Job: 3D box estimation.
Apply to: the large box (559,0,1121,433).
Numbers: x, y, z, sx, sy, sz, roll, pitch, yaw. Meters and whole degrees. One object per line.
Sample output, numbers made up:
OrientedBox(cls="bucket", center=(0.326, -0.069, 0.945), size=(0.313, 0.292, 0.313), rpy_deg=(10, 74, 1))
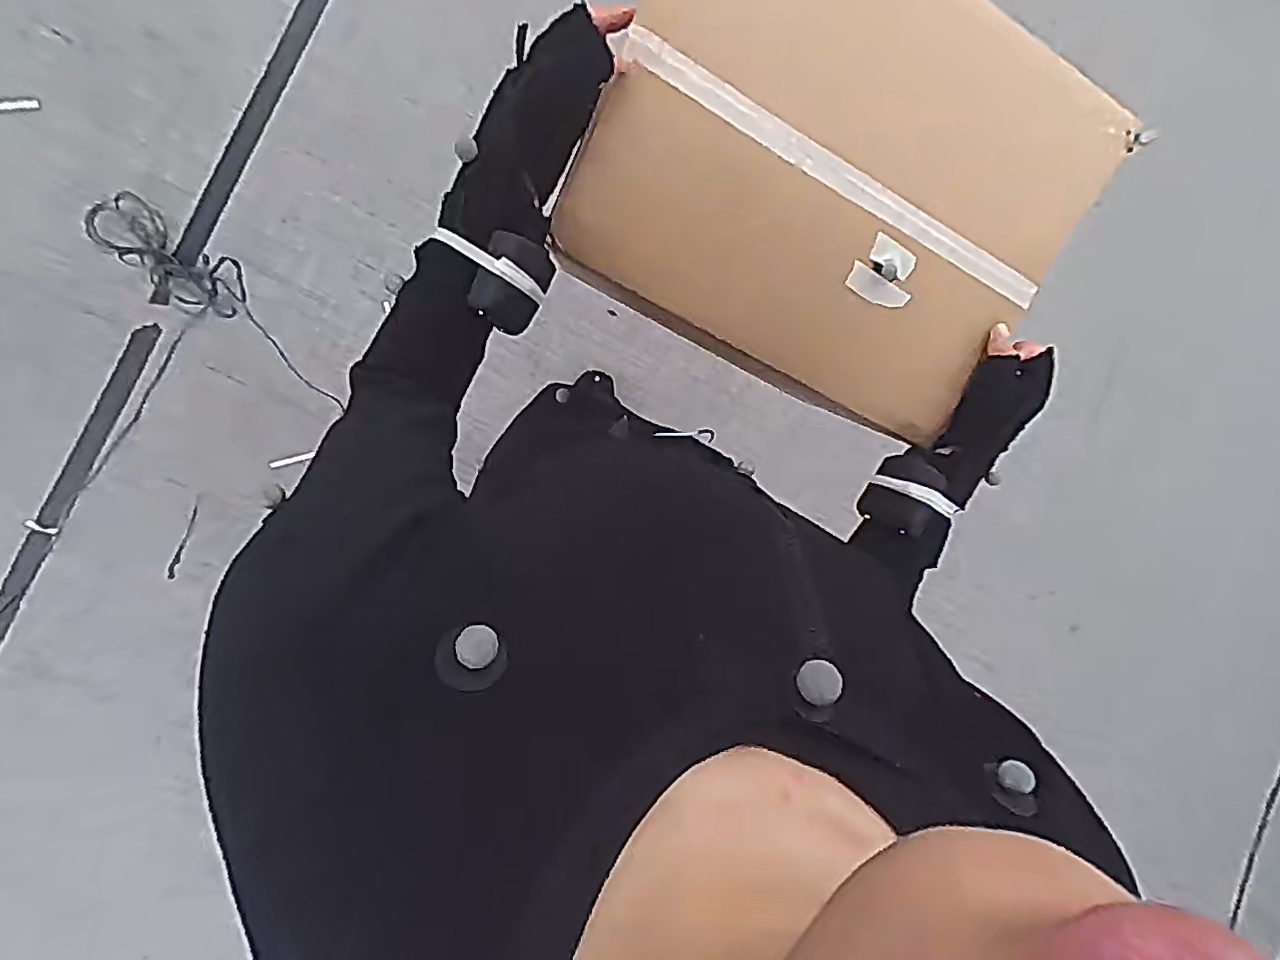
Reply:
OrientedBox(cls="large box", center=(0.156, -0.299, 0.594), size=(0.408, 0.320, 0.320), rpy_deg=(25, 105, -14))
